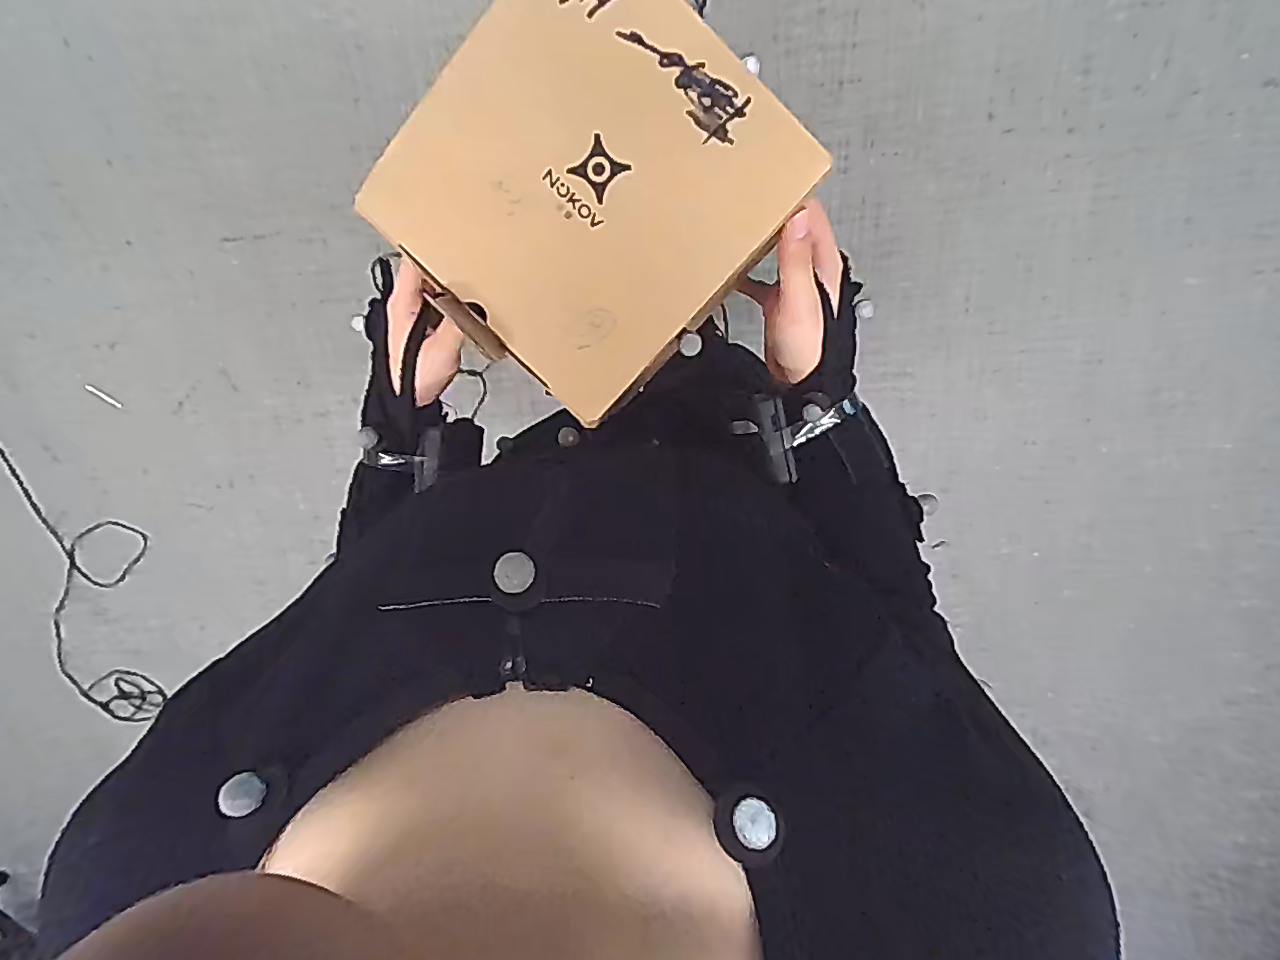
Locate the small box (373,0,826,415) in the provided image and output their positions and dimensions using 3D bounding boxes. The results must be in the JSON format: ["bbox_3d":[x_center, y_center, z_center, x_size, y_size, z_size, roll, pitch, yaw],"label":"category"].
[{"bbox_3d":[-0.018,-0.164,0.348,0.168,0.176,0.179,43,101,-5],"label":"small box"}]
